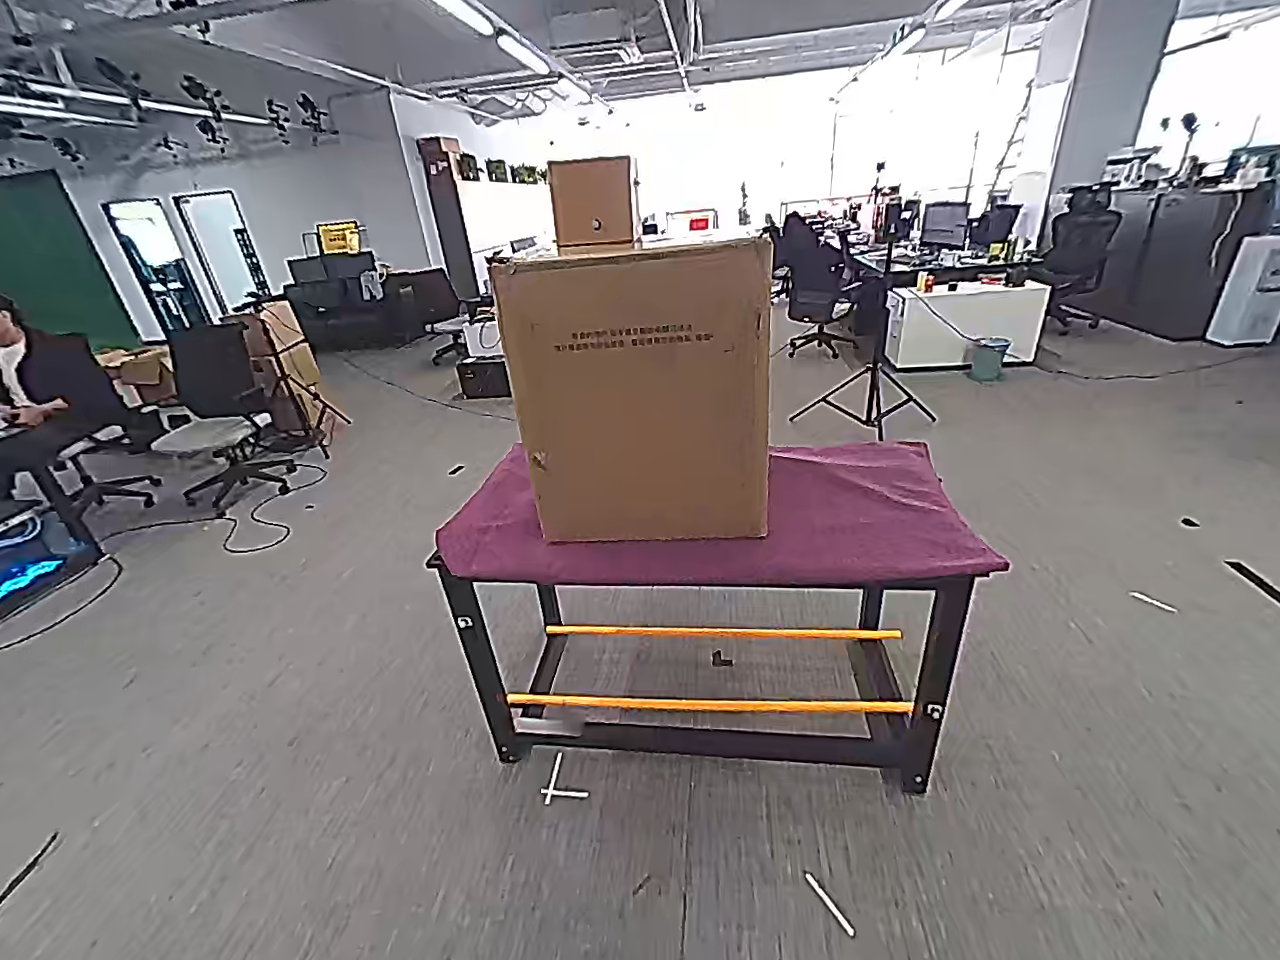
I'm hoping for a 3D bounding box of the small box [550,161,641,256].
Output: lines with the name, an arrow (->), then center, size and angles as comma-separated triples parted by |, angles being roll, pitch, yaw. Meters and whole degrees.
small box -> -0.097, -0.606, 1.214 | 0.179, 0.176, 0.168 | -1, 27, 8
